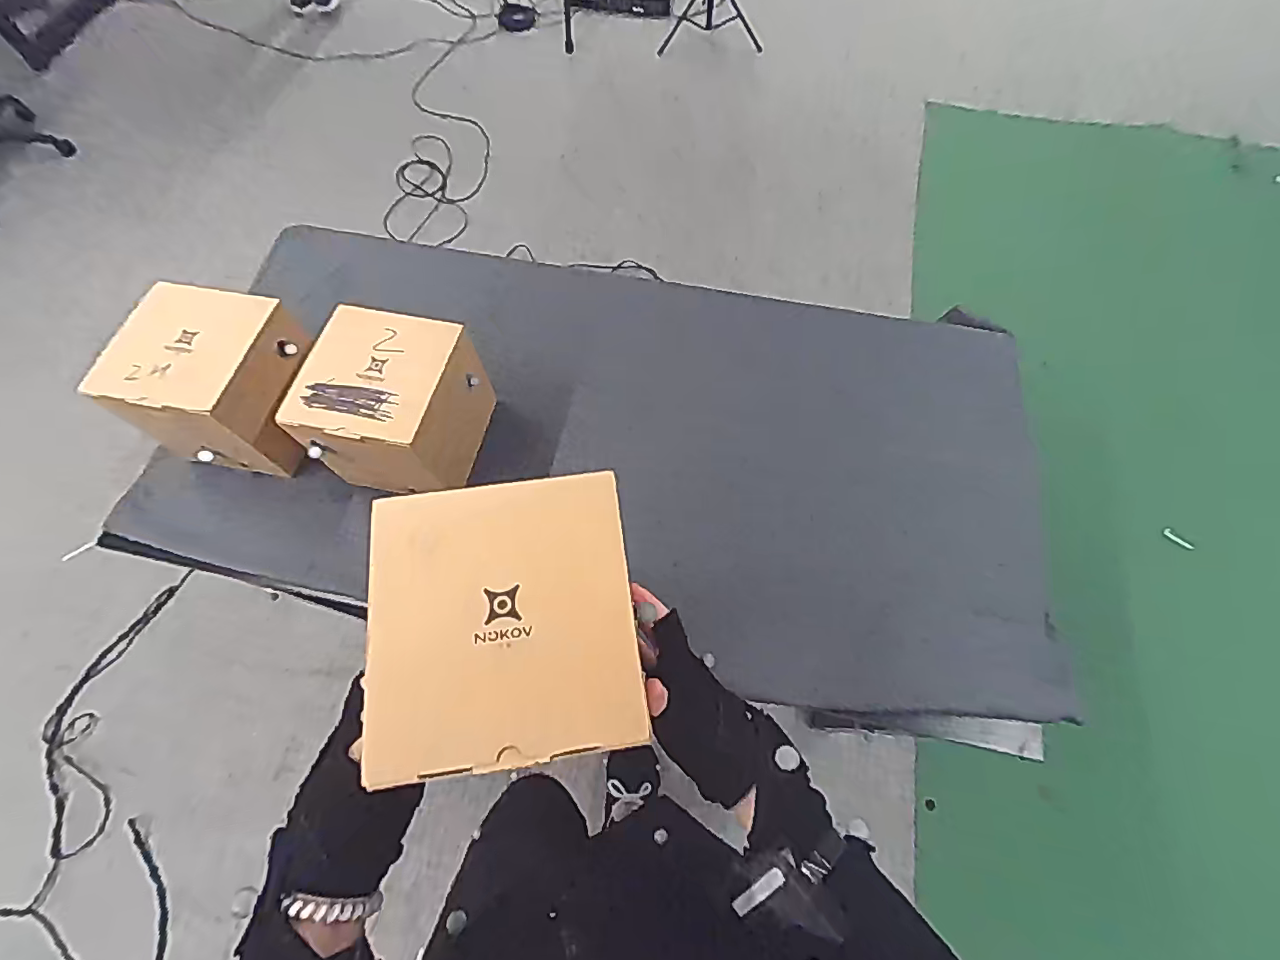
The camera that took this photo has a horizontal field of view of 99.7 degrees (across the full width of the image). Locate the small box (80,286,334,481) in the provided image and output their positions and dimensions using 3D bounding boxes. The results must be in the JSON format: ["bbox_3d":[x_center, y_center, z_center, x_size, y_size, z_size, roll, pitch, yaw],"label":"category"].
[{"bbox_3d":[-0.544,-0.122,0.716,0.168,0.176,0.179,10,65,4],"label":"small box"}]

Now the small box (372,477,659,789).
[{"bbox_3d":[-0.085,0.115,0.414,0.168,0.176,0.179,-7,69,-6],"label":"small box"}]
